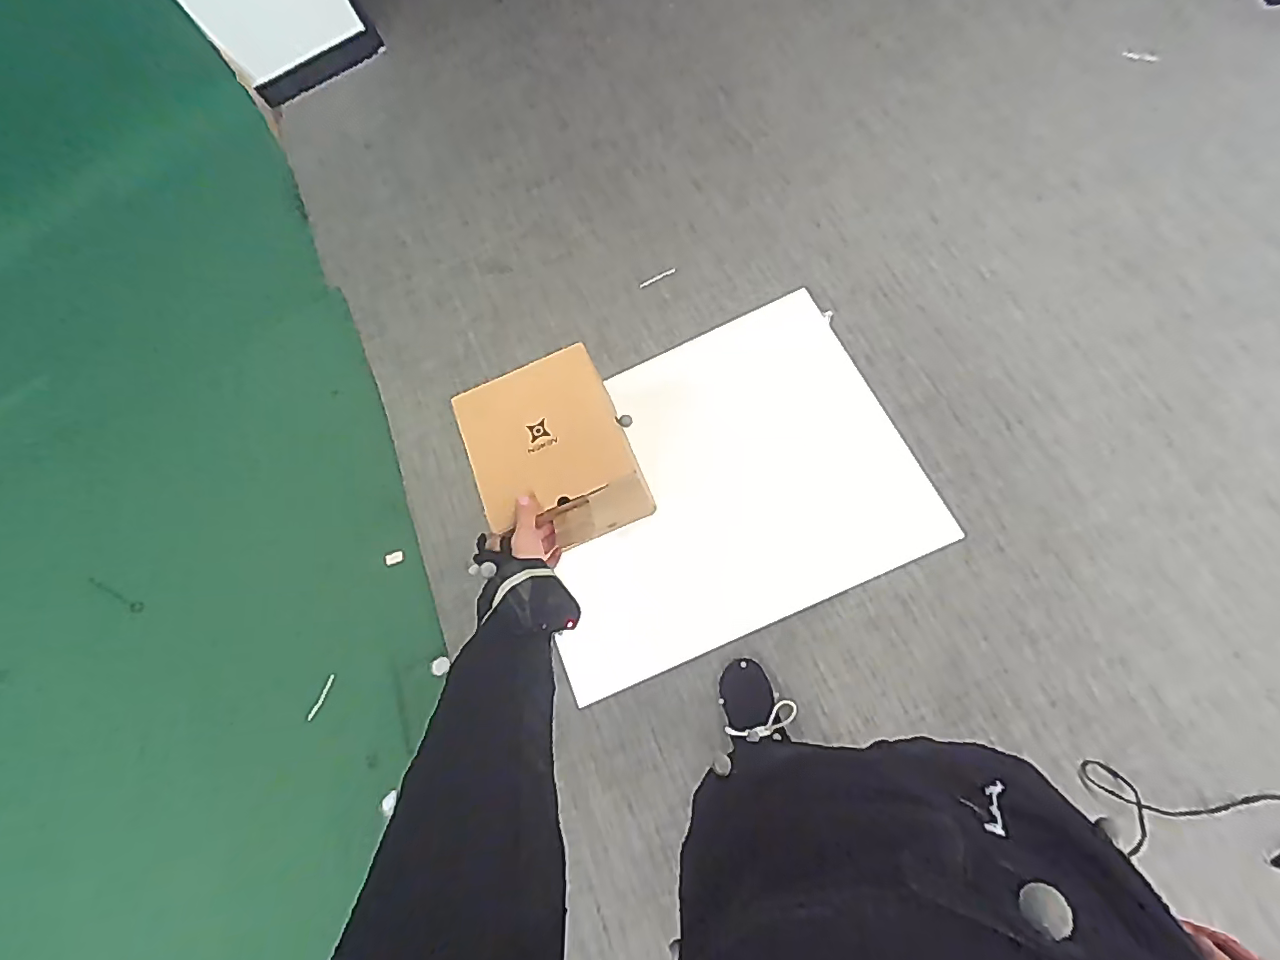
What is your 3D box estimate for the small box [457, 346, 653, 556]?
[{"bbox_3d":[-0.095,-0.025,0.663,0.168,0.176,0.179,-23,72,1],"label":"small box"}]
